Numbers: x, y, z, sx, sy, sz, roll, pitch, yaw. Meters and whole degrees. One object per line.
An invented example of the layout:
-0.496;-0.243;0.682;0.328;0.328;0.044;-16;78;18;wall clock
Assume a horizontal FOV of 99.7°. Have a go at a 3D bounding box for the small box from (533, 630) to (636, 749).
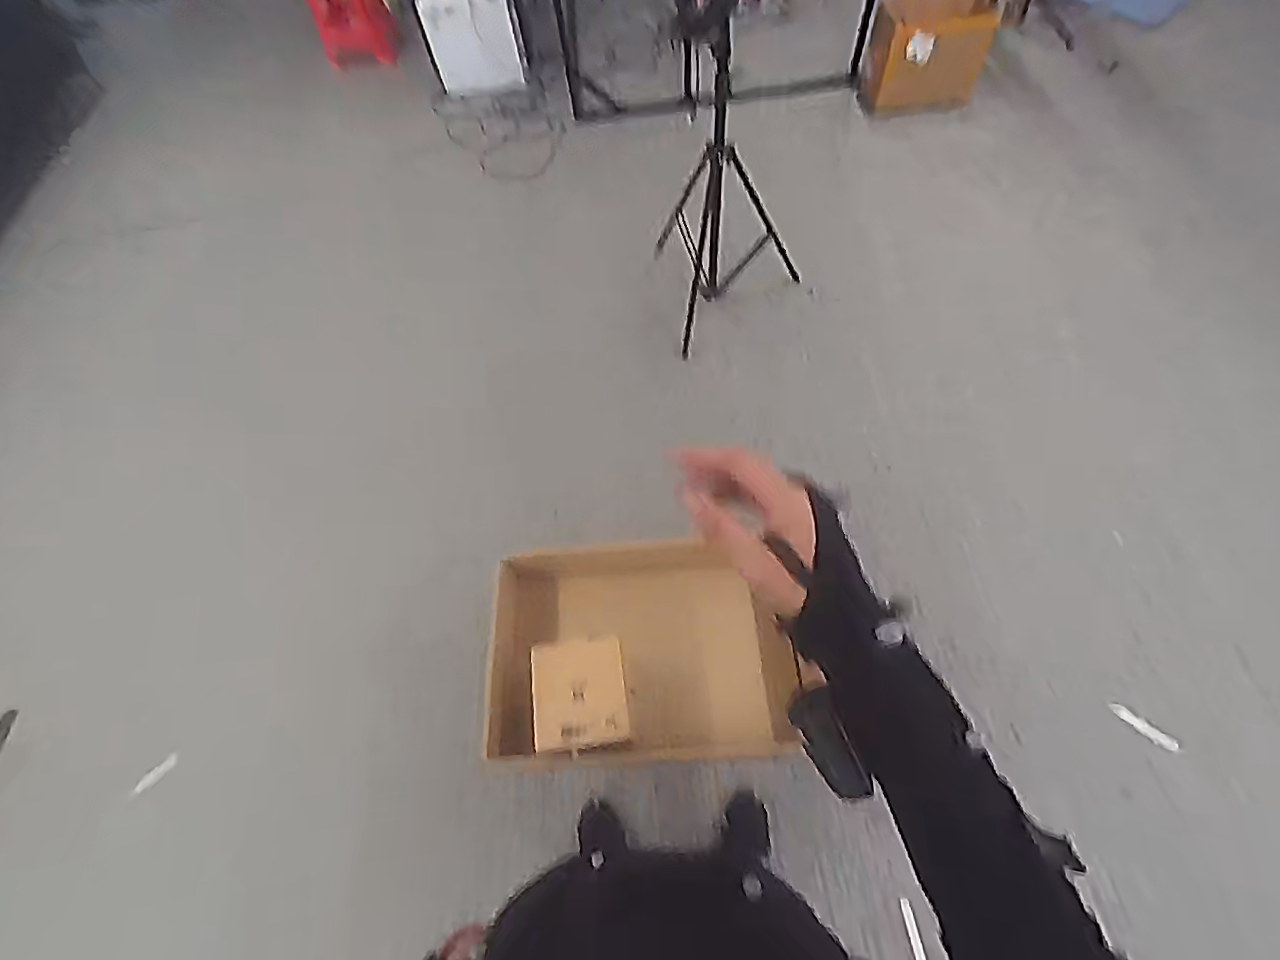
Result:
-0.102;0.401;1.025;0.168;0.176;0.179;-9;61;1;small box
